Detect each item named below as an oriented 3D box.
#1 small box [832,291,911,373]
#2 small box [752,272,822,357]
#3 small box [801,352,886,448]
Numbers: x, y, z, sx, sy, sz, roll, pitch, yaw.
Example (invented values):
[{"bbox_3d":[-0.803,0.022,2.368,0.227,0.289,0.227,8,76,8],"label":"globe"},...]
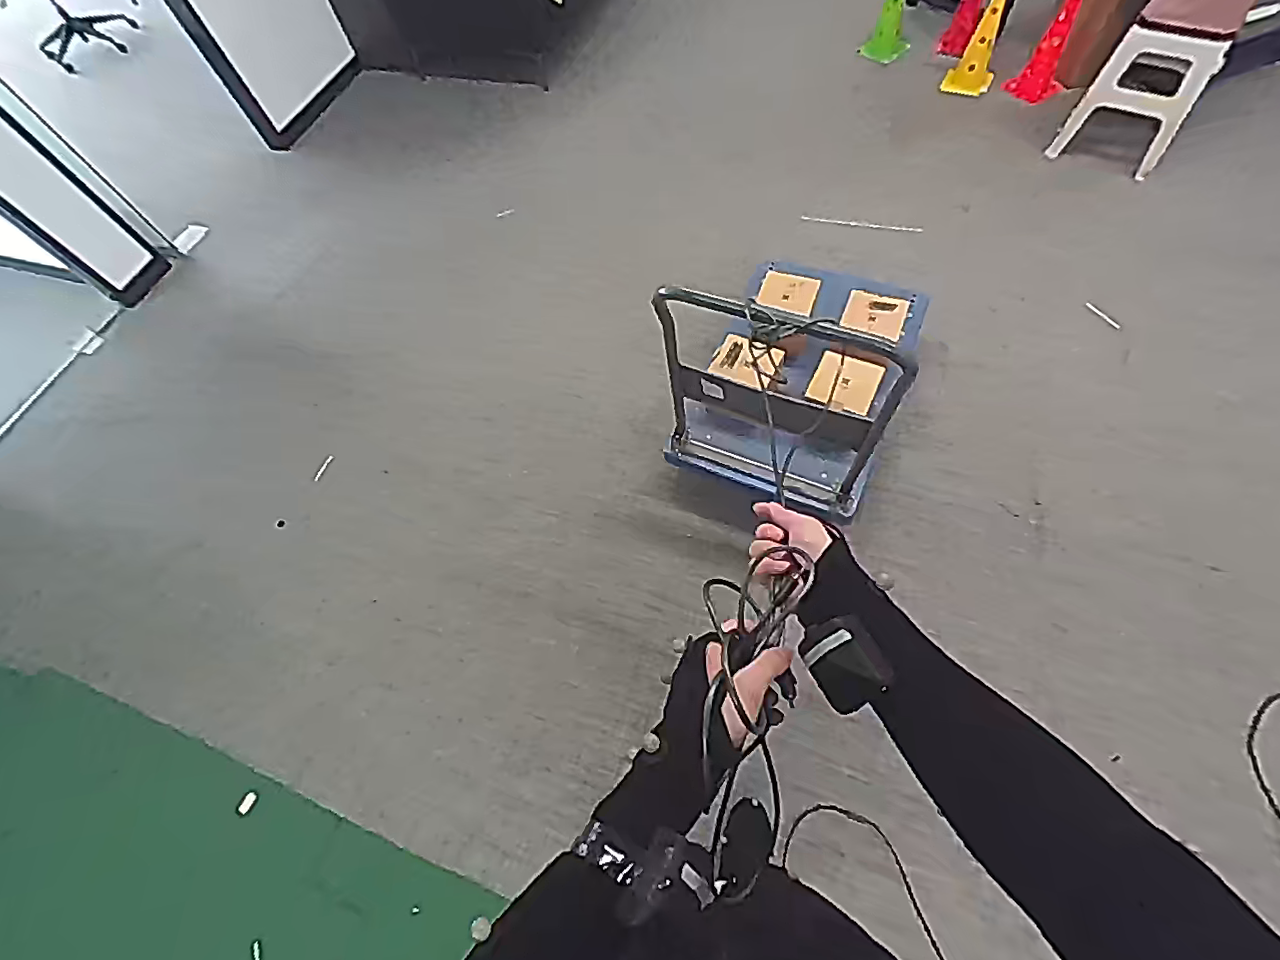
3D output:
[{"bbox_3d":[0.679,-0.425,1.606,0.168,0.176,0.179,19,68,18],"label":"small box"},{"bbox_3d":[0.452,-0.511,1.685,0.168,0.176,0.179,18,67,16],"label":"small box"},{"bbox_3d":[0.565,-0.222,1.522,0.168,0.176,0.179,23,69,19],"label":"small box"}]
